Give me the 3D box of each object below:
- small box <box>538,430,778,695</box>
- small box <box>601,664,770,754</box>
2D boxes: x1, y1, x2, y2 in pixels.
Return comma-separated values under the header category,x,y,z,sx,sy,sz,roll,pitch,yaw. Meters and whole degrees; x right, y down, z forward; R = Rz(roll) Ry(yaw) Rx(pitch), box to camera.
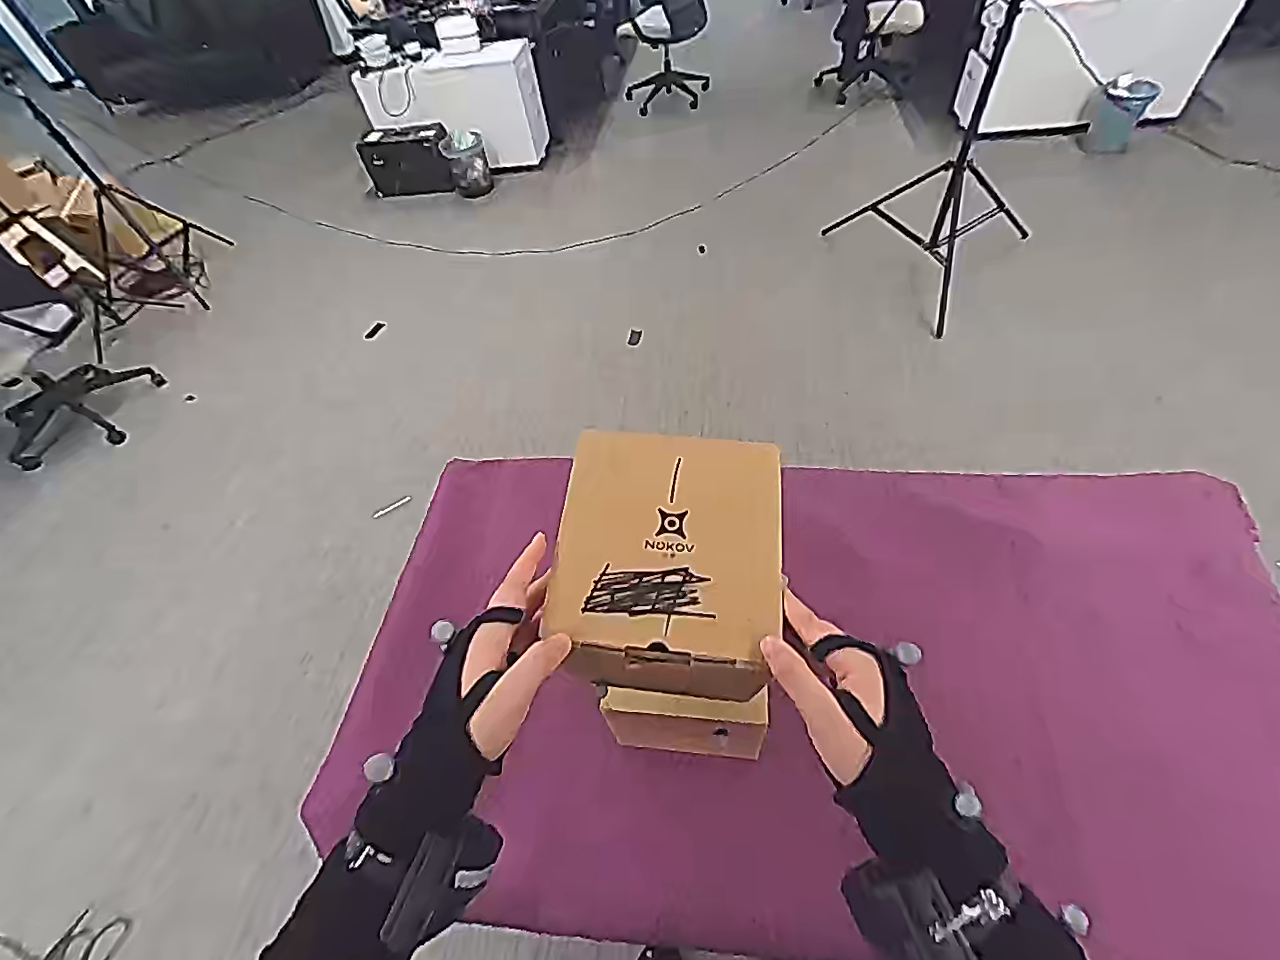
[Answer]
category,x,y,z,sx,sy,sz,roll,pitch,yaw
small box,0.024,0.079,0.470,0.168,0.176,0.179,5,60,5
small box,0.062,0.226,0.662,0.179,0.176,0.168,1,52,9
